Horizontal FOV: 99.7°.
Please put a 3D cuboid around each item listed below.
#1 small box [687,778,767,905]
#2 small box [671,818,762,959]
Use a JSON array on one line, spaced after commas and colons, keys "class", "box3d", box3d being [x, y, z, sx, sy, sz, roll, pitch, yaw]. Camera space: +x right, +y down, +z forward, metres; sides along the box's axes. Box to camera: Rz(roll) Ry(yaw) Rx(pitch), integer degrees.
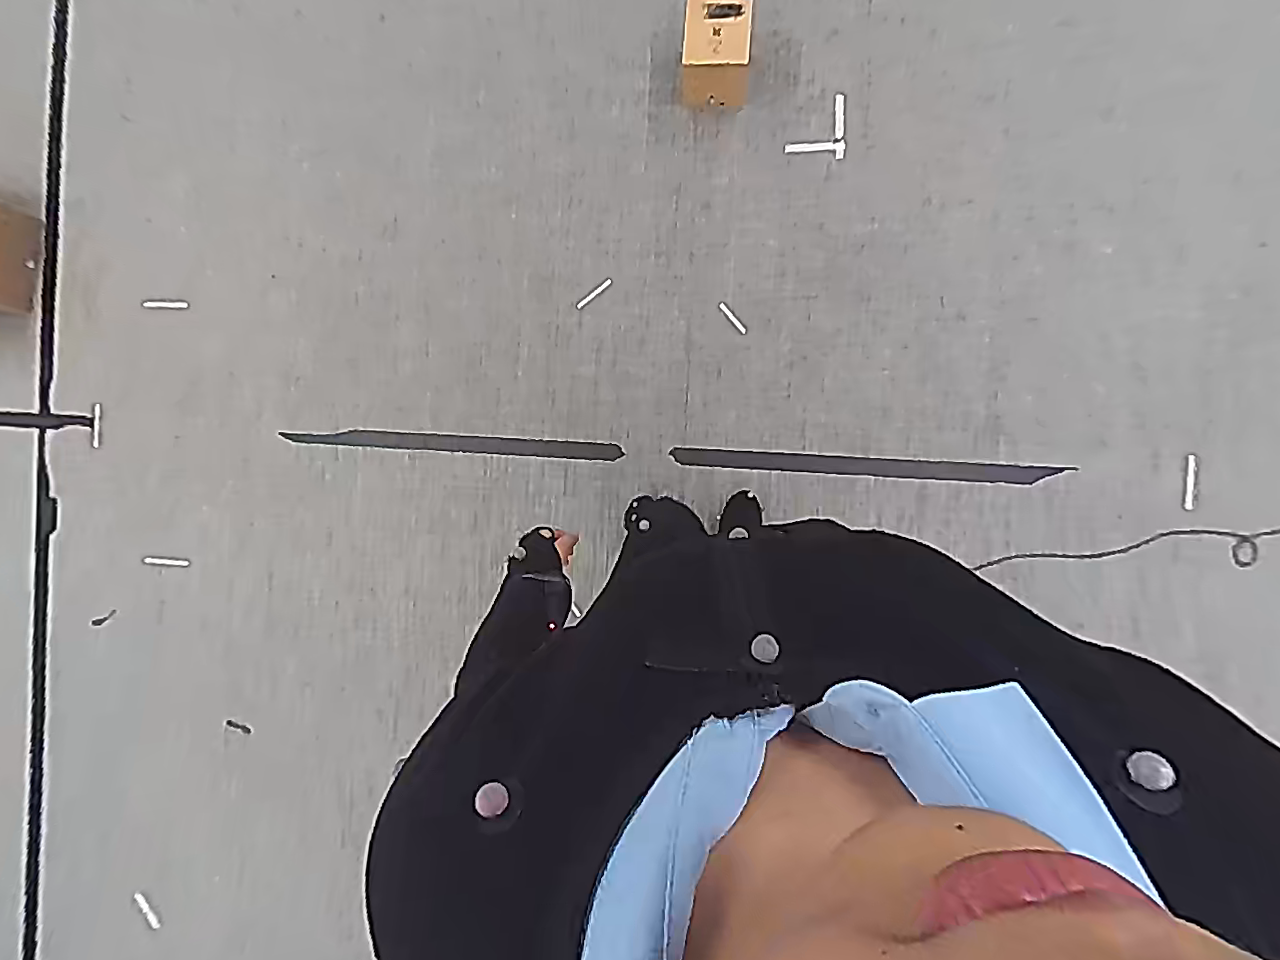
[{"class": "small box", "box3d": [0.194, 0.805, 1.218, 0.168, 0.176, 0.179, -2, 89, 7]}, {"class": "small box", "box3d": [0.149, 0.804, 1.058, 0.168, 0.176, 0.179, -2, 89, 7]}]
